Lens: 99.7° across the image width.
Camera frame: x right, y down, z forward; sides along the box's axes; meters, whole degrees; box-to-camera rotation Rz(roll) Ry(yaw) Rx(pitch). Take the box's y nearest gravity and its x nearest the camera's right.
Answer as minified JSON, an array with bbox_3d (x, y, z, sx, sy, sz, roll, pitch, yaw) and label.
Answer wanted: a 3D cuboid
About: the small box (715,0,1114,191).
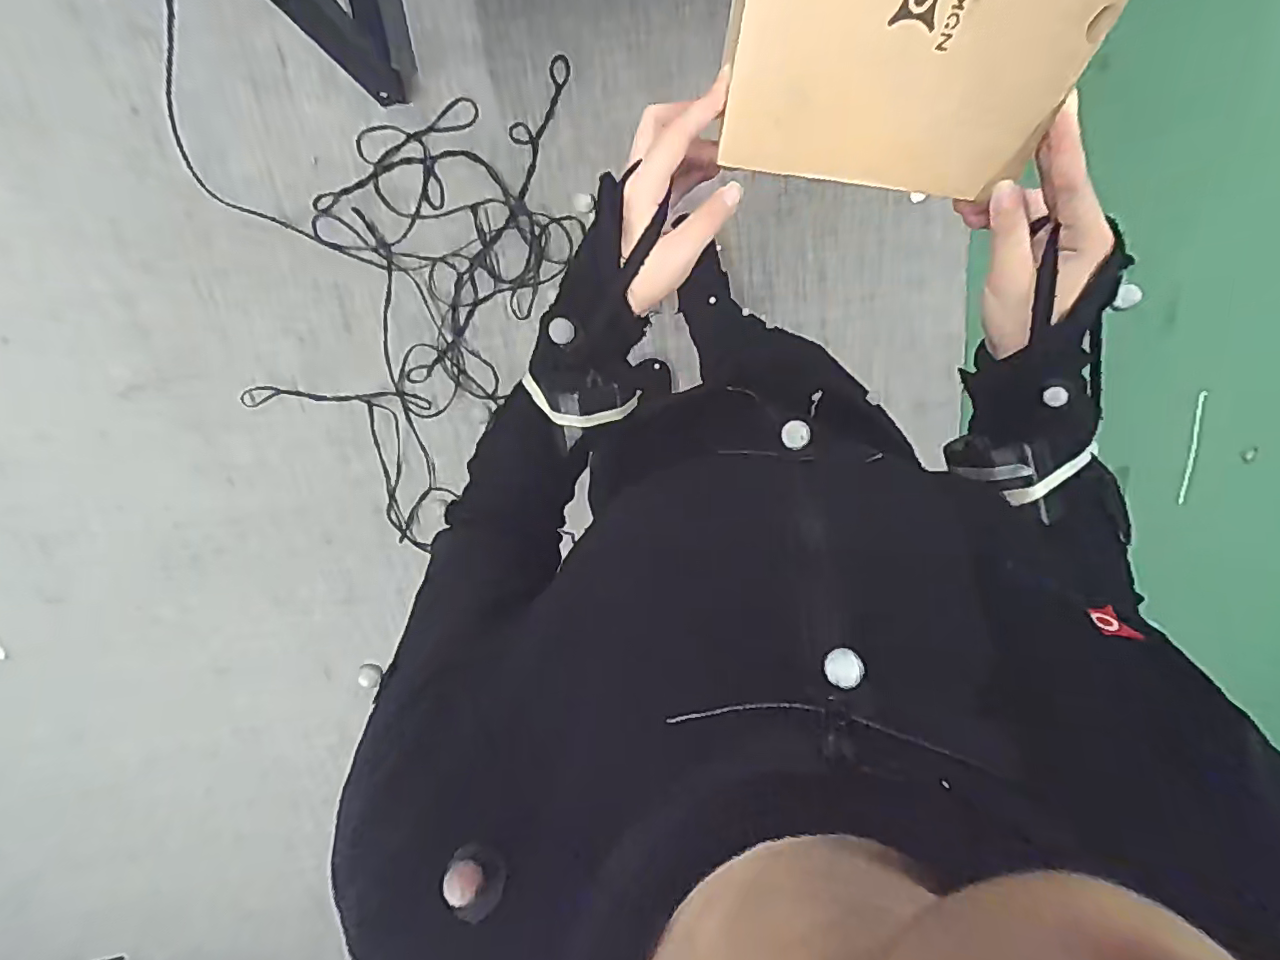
[{"bbox_3d":[0.144,-0.293,0.308,0.179,0.176,0.168,7,138,-1],"label":"small box"}]
